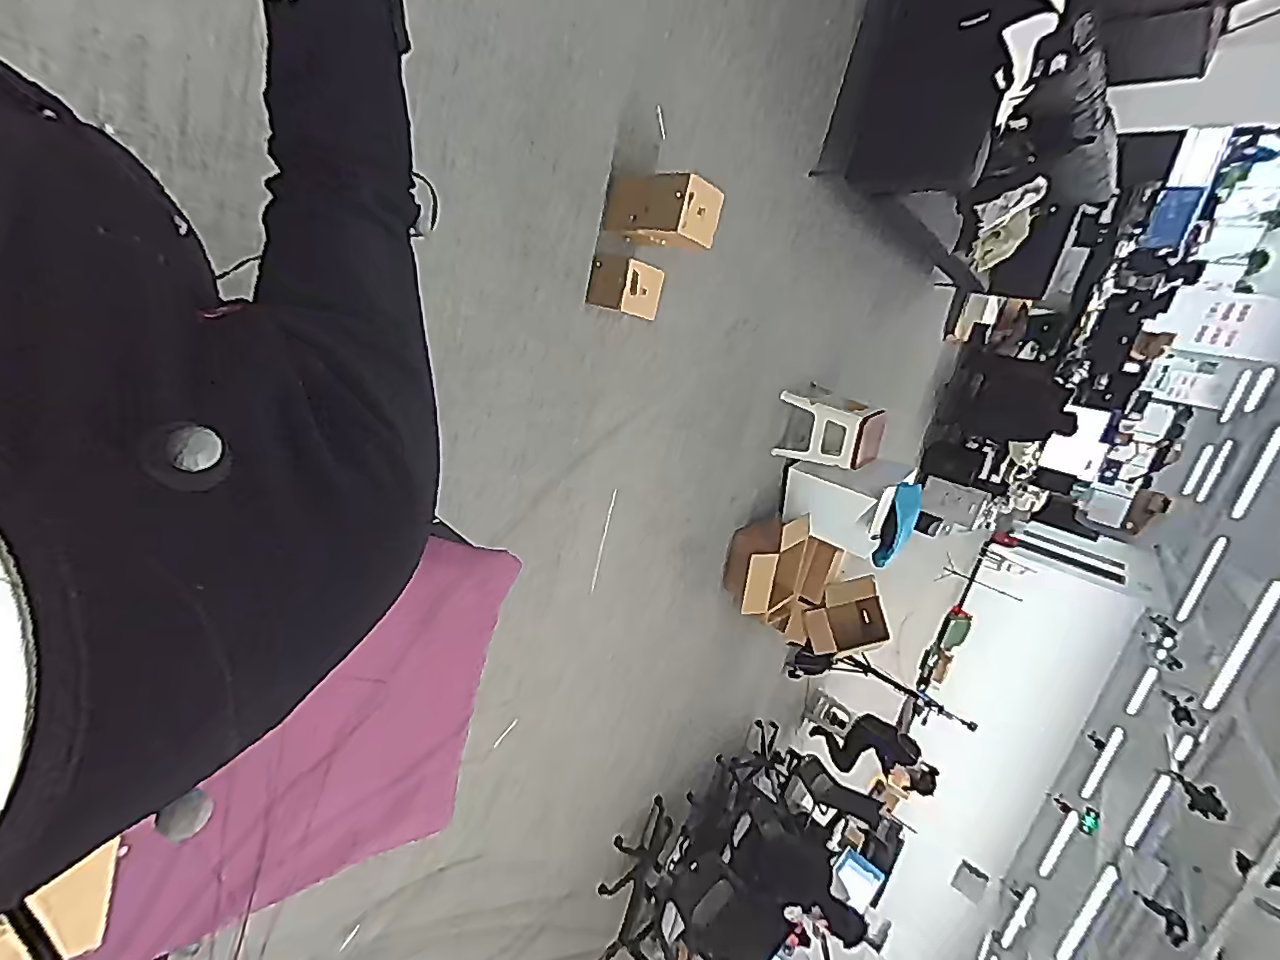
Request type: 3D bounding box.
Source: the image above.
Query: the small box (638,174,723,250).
[{"bbox_3d":[0.124,-0.829,1.673,0.179,0.176,0.168,-1,111,-49],"label":"small box"}]

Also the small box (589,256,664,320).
[{"bbox_3d":[-0.050,-0.651,1.830,0.179,0.176,0.168,-3,112,-48],"label":"small box"}]

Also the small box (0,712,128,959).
[{"bbox_3d":[-0.650,0.374,0.546,0.168,0.176,0.179,7,104,-51],"label":"small box"}]
